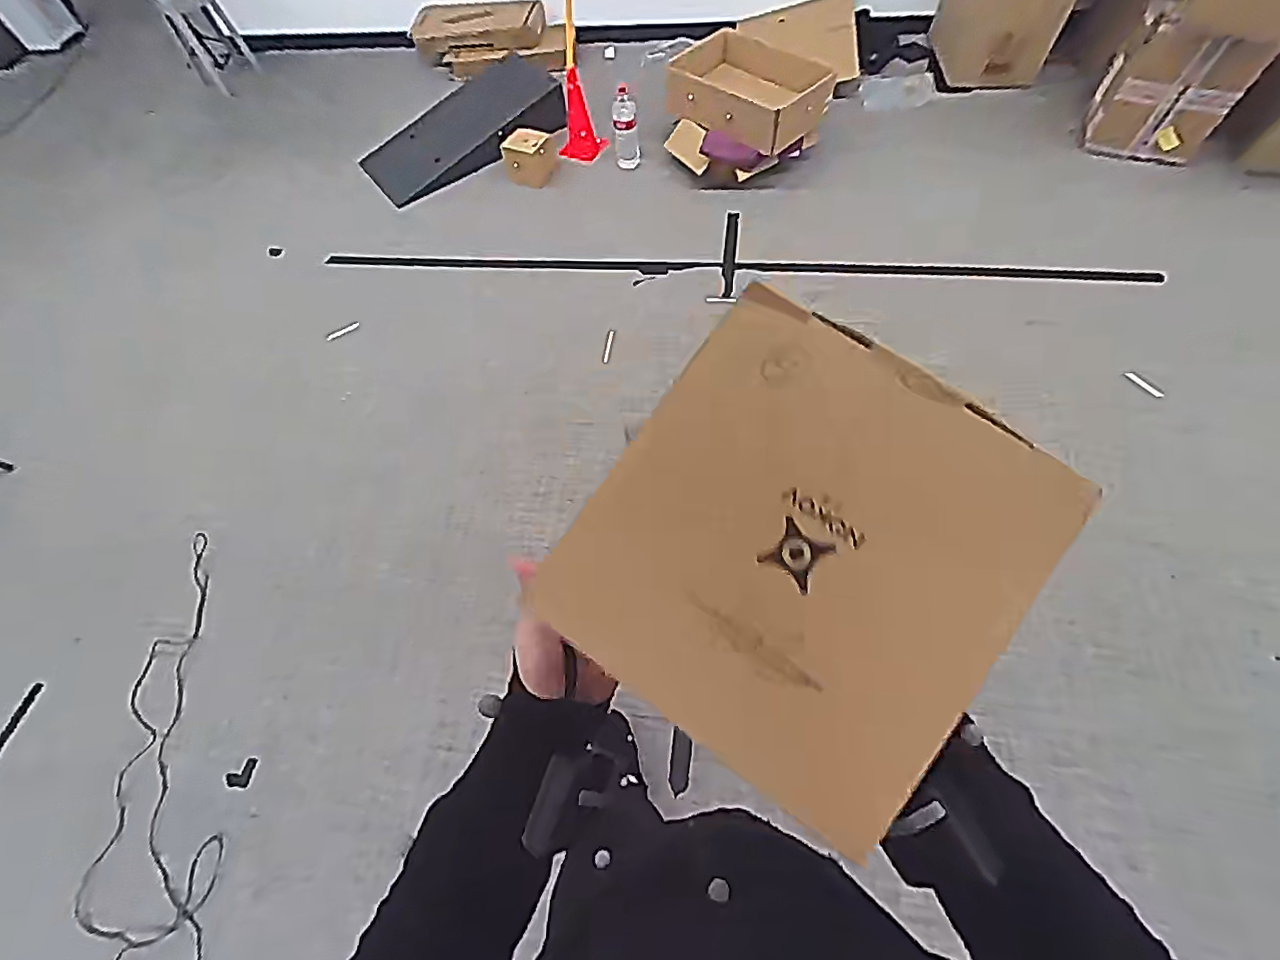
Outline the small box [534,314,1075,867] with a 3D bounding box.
[{"bbox_3d":[0.073,0.048,0.307,0.168,0.176,0.179,34,88,9],"label":"small box"}]
